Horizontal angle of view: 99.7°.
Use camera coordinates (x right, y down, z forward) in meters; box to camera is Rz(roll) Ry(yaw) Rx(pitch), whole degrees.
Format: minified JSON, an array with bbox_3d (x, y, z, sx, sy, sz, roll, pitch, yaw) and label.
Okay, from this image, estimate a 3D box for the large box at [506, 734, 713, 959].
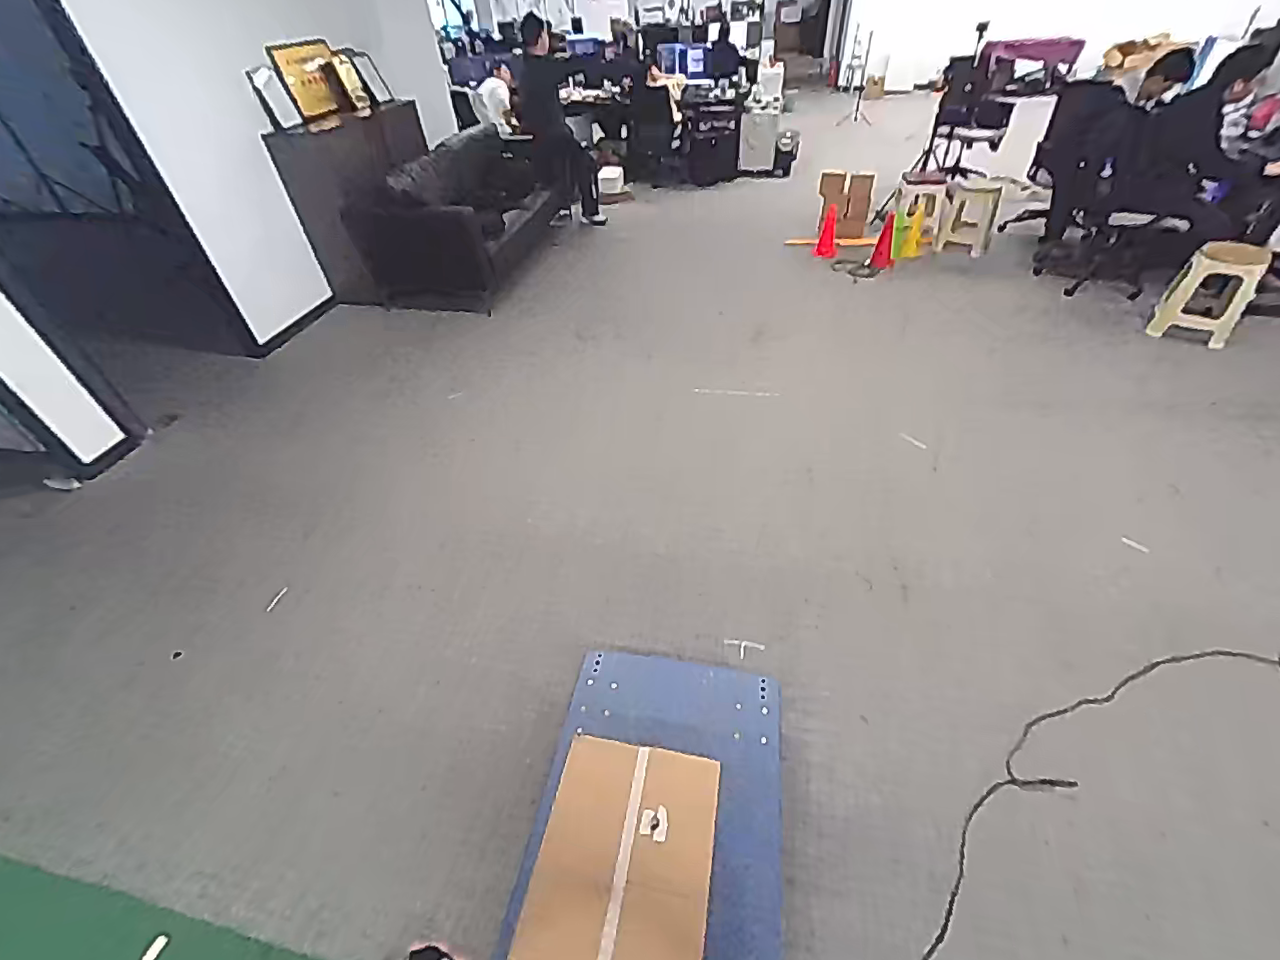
[{"bbox_3d":[-0.028,0.801,1.088,0.320,0.320,0.408,6,41,10],"label":"large box"}]
